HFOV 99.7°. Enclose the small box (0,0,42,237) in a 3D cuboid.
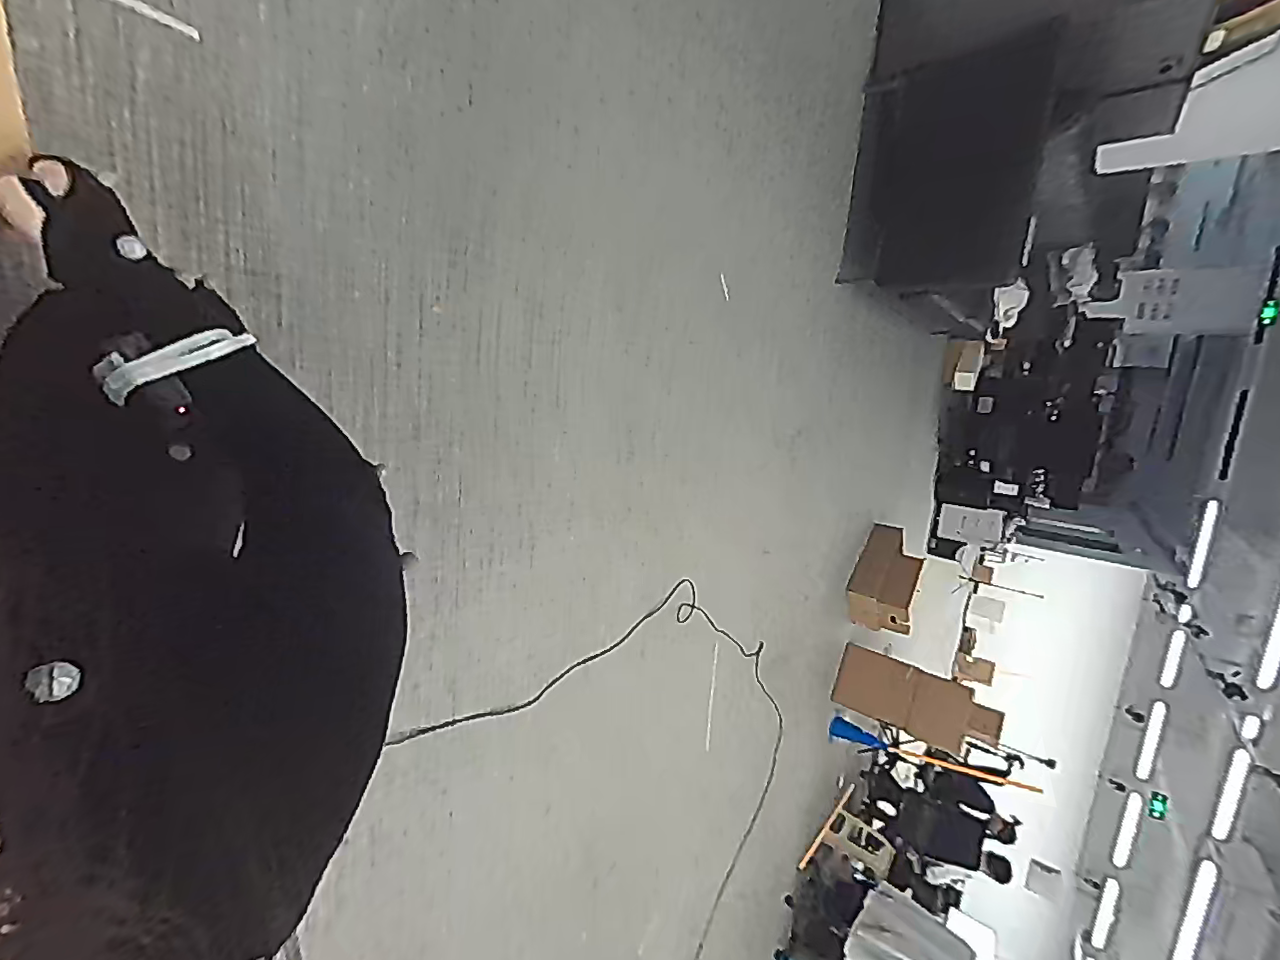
[{"bbox_3d":[-0.553,-0.281,0.369,0.168,0.176,0.179,-13,111,-50],"label":"small box"}]
